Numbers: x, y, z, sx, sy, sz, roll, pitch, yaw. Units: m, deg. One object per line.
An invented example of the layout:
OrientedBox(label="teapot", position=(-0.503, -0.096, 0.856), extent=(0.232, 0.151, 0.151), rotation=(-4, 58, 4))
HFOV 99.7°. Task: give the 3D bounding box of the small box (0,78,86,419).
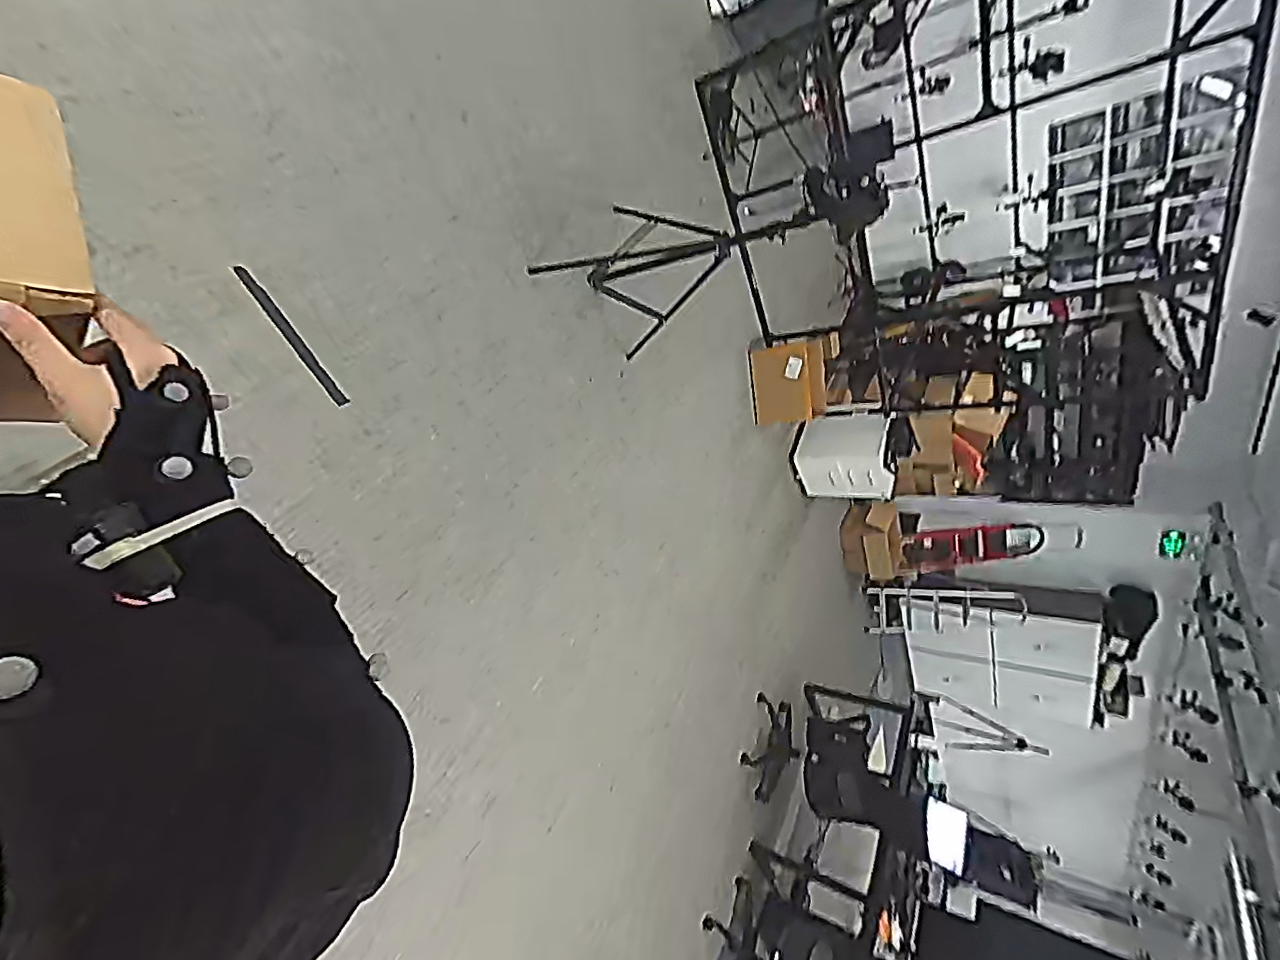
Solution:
OrientedBox(label="small box", position=(-0.484, -0.151, 0.339), extent=(0.168, 0.176, 0.179), rotation=(-6, 69, -55))
